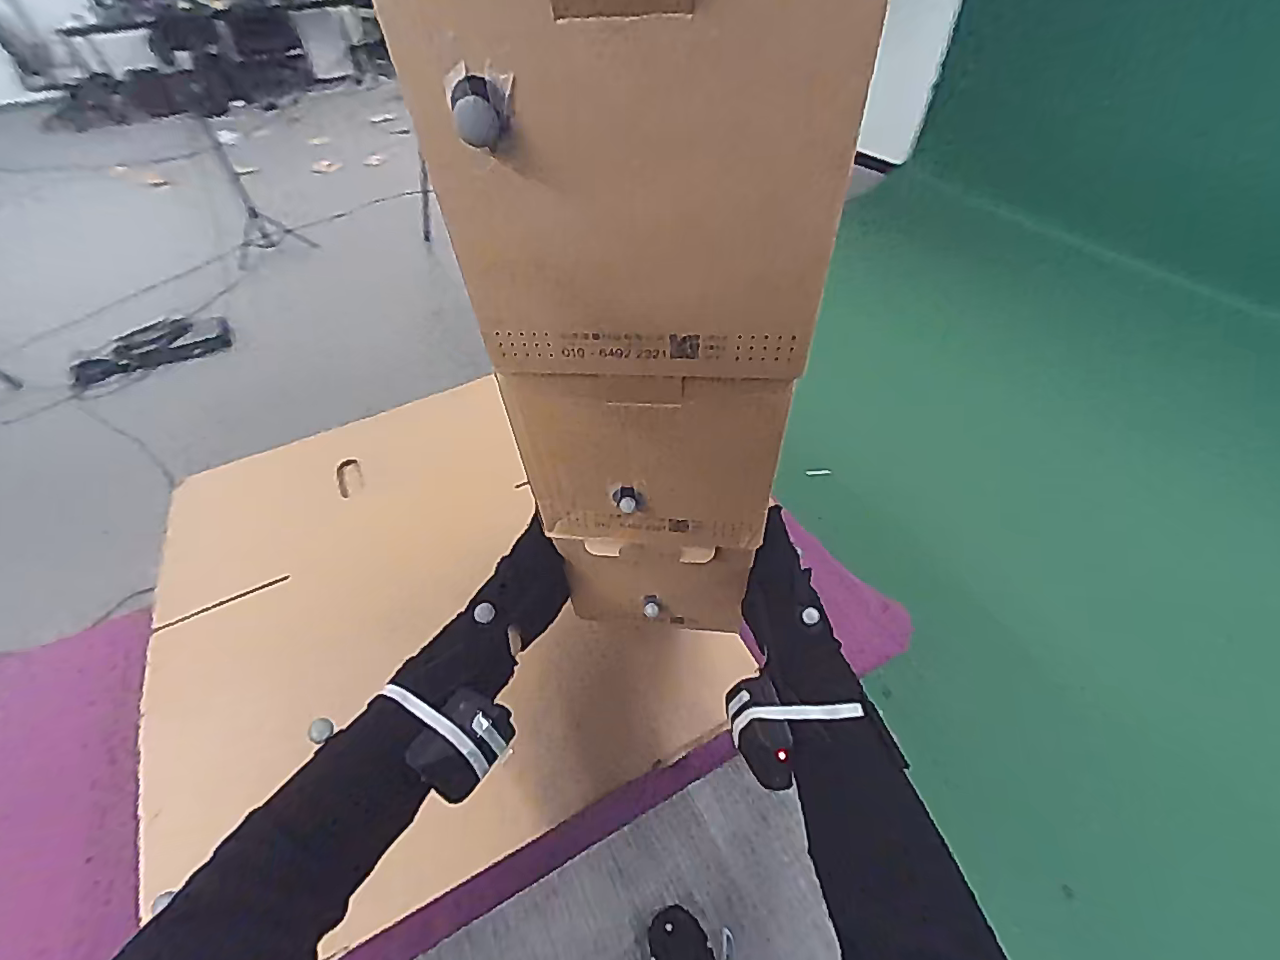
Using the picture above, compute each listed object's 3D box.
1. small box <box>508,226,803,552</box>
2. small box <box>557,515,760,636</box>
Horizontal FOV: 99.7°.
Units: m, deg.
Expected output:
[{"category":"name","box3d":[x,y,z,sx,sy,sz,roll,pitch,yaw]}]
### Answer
[{"category":"small box","box3d":[0.018,-0.068,0.407,0.168,0.176,0.179,3,51,6]},{"category":"small box","box3d":[0.028,0.031,0.536,0.168,0.176,0.179,4,51,8]}]
